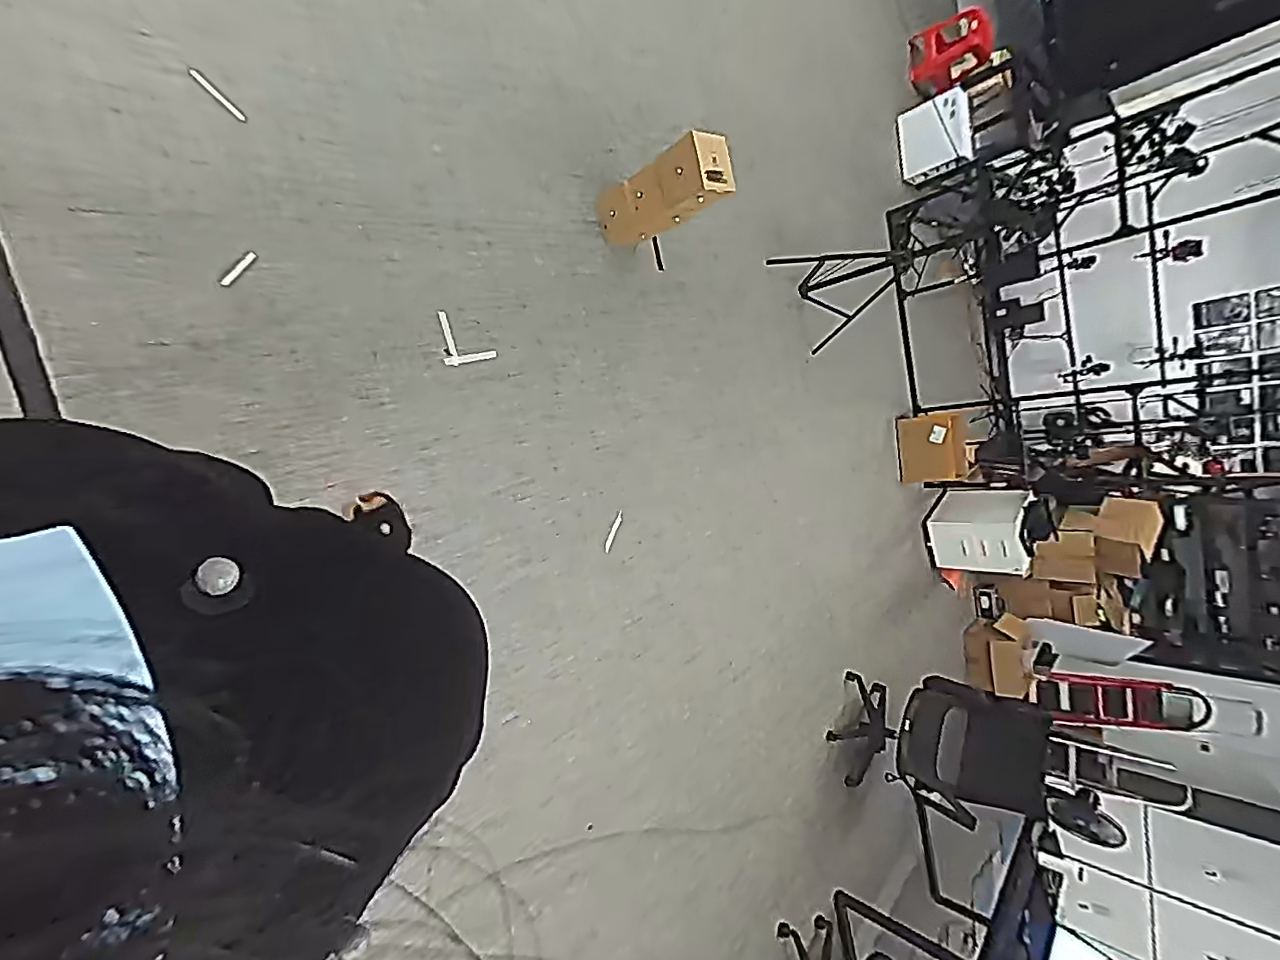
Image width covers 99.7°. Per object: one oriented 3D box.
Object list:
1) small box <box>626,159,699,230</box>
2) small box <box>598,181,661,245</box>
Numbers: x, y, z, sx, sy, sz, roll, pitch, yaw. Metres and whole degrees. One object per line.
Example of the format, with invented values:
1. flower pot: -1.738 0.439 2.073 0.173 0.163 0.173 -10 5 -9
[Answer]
1. small box: 0.079 -0.989 1.892 0.179 0.176 0.168 -20 101 -41
2. small box: -0.039 -0.985 2.005 0.179 0.176 0.168 -23 104 -42
